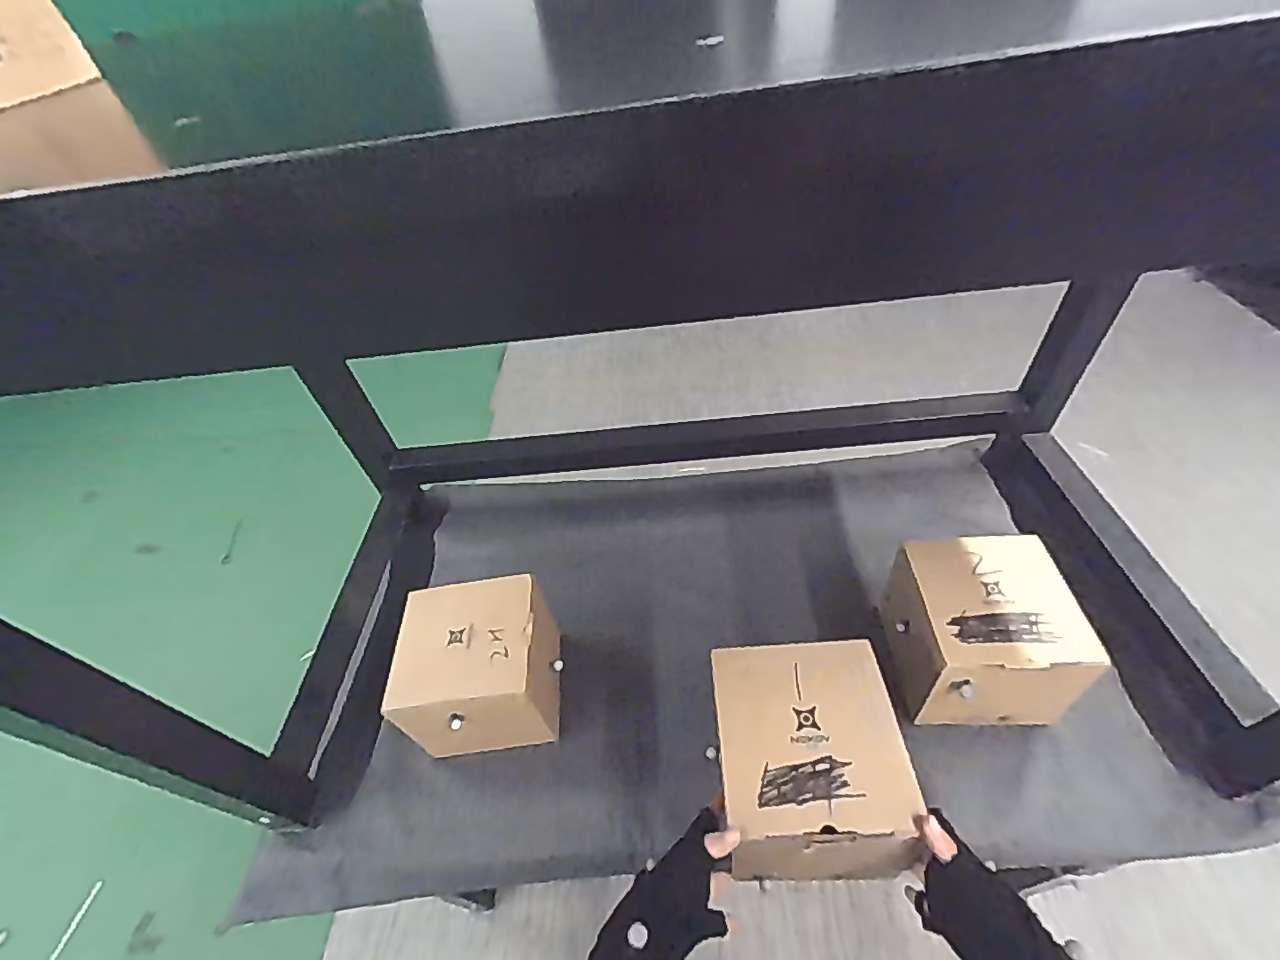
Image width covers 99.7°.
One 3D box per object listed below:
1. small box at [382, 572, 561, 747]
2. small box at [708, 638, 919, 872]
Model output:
[{"bbox_3d":[-0.216,0.251,0.745,0.179,0.176,0.168,-8,46,1],"label":"small box"},{"bbox_3d":[0.162,0.288,0.561,0.168,0.176,0.179,-5,43,6],"label":"small box"}]
